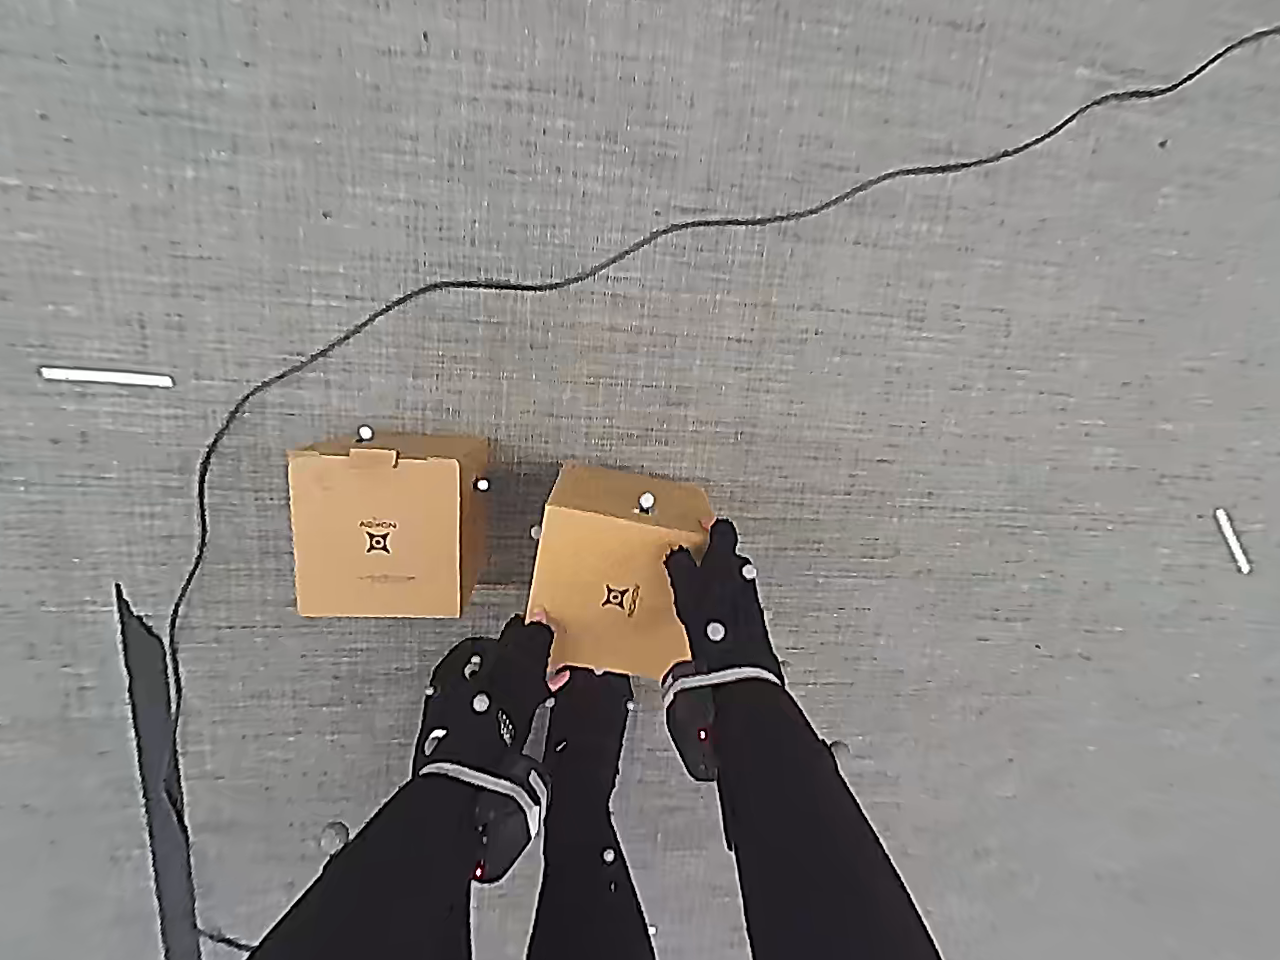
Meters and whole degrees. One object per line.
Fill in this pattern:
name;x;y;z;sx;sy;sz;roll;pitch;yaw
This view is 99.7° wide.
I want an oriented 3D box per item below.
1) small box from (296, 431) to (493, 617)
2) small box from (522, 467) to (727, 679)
small box;-0.271;0.041;0.630;0.168;0.176;0.179;3;103;-6
small box;-0.021;0.092;0.610;0.179;0.176;0.168;11;105;-6
